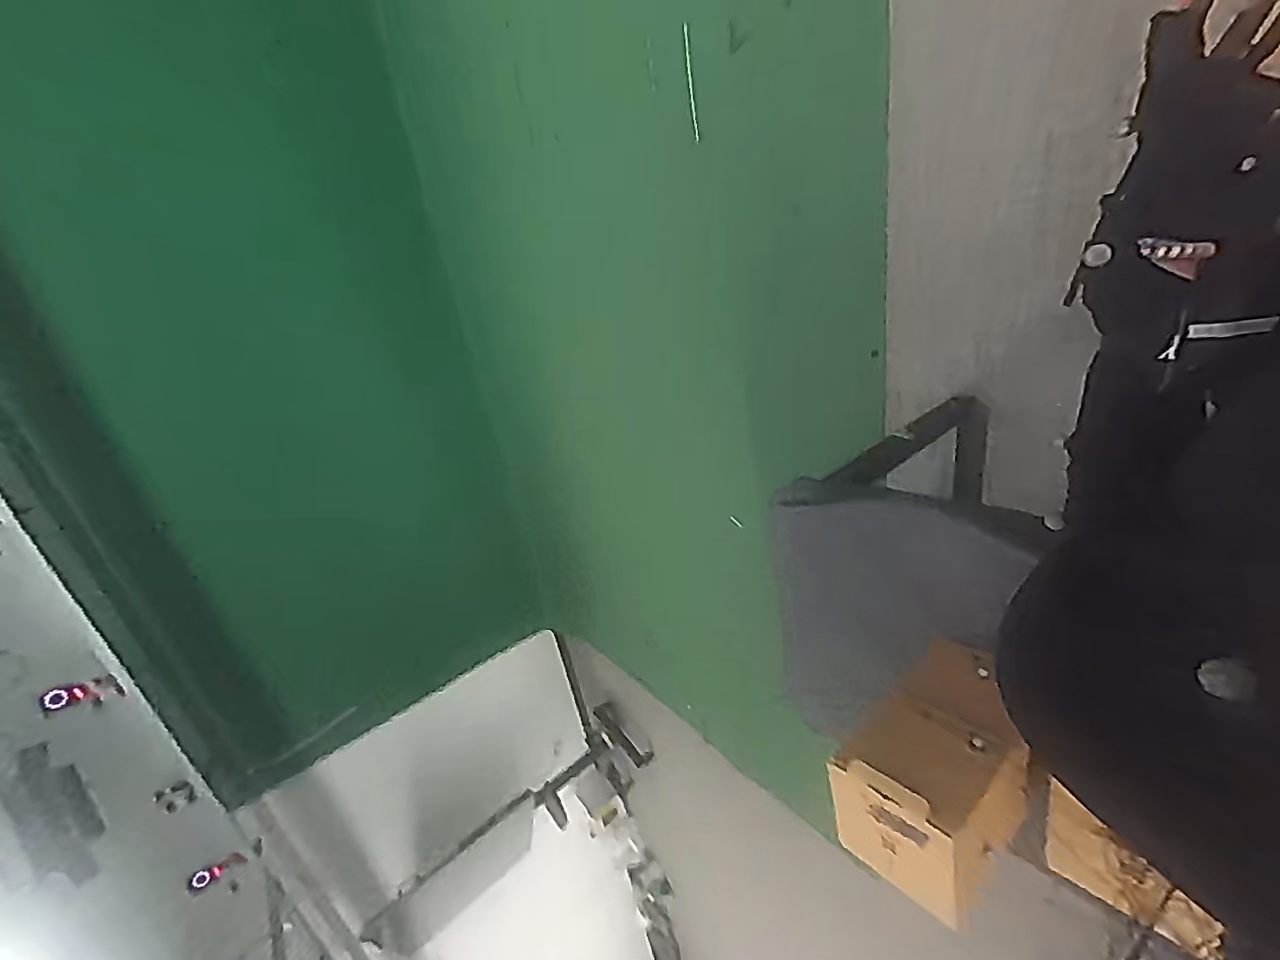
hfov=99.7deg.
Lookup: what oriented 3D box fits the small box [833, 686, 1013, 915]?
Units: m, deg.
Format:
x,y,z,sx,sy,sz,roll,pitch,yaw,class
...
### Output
x,y,z,sx,sy,sz,roll,pitch,yaw,class
0.393,0.427,0.753,0.168,0.176,0.179,15,125,51,small box
